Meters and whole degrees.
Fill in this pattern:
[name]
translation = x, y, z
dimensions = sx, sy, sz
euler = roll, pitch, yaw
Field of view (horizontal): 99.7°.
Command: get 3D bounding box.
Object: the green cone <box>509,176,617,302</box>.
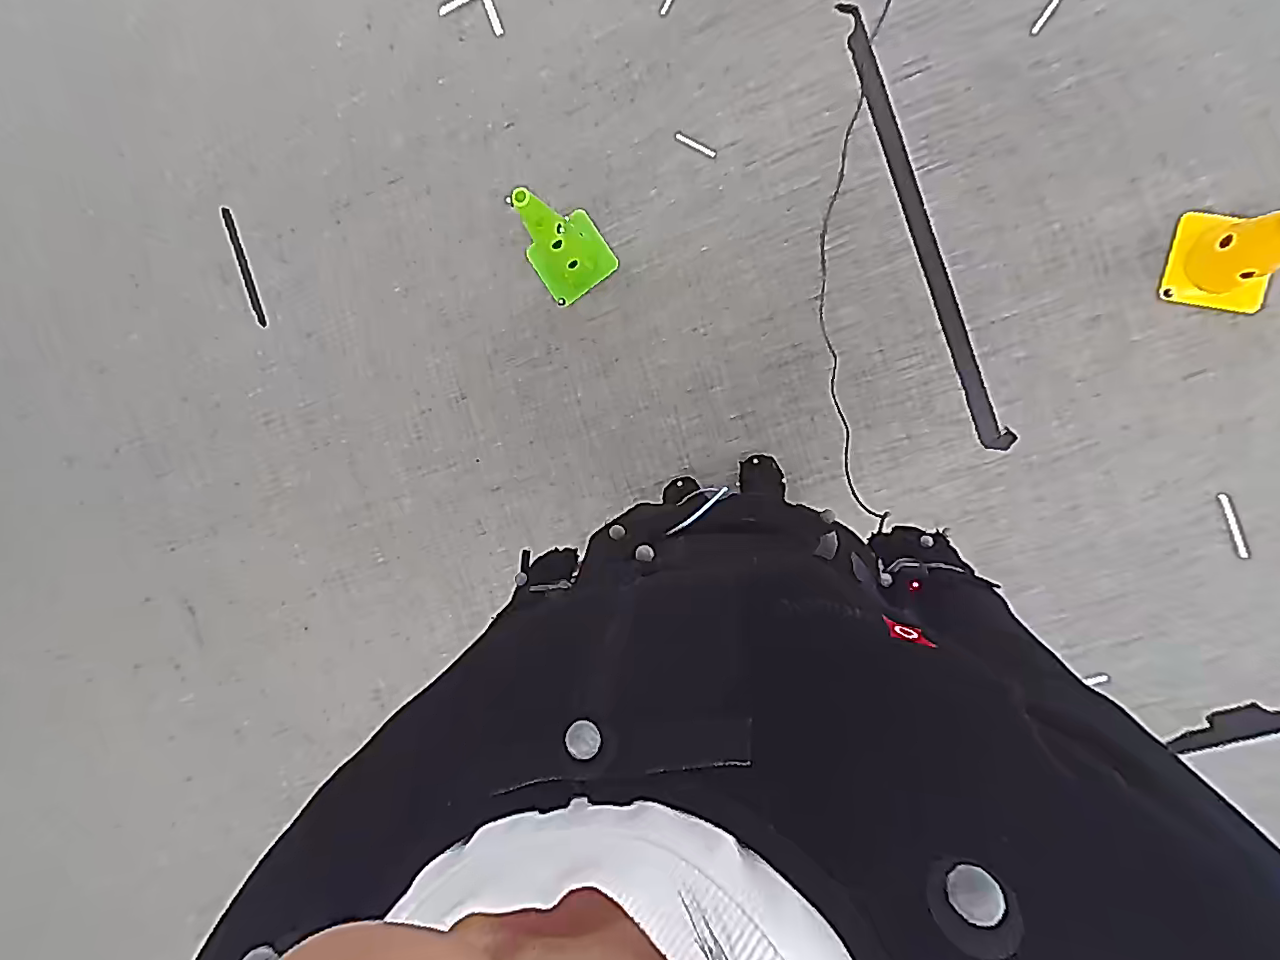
[green cone]
translation = -0.216, -0.609, 1.295
dimensions = 0.200, 0.368, 0.202
euler = -34, 84, 9
